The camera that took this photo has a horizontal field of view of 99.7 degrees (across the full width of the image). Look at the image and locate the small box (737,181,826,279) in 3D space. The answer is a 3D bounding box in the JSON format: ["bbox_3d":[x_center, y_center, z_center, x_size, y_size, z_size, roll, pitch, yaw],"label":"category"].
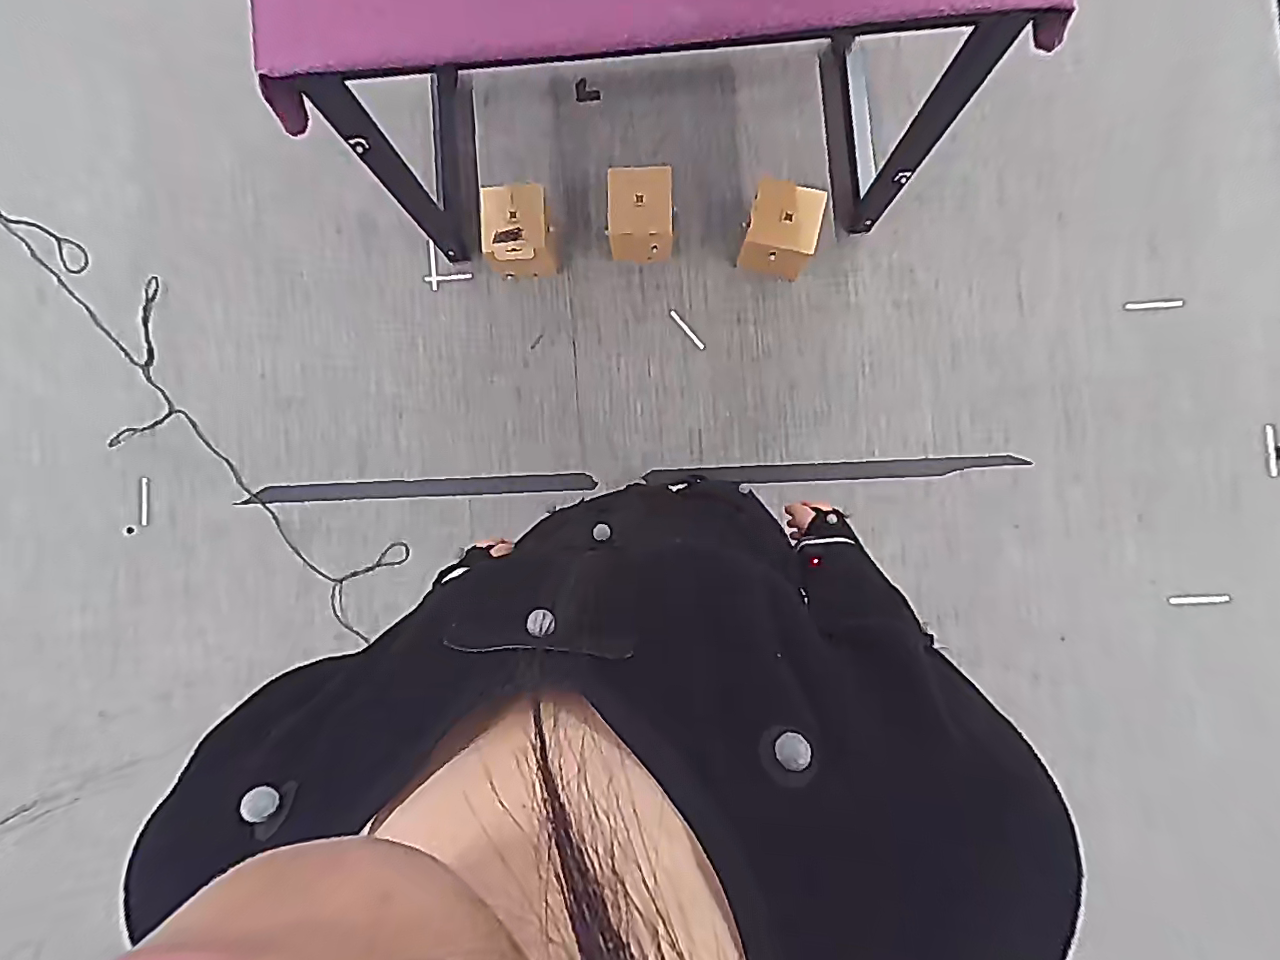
[{"bbox_3d":[0.370,-0.655,1.440,0.179,0.176,0.168,14,89,4],"label":"small box"}]

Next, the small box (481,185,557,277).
[{"bbox_3d":[-0.322,-0.661,1.461,0.168,0.176,0.179,-2,87,2],"label":"small box"}]

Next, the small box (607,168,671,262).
[{"bbox_3d":[0.000,-0.702,1.454,0.168,0.176,0.179,-1,87,1],"label":"small box"}]
